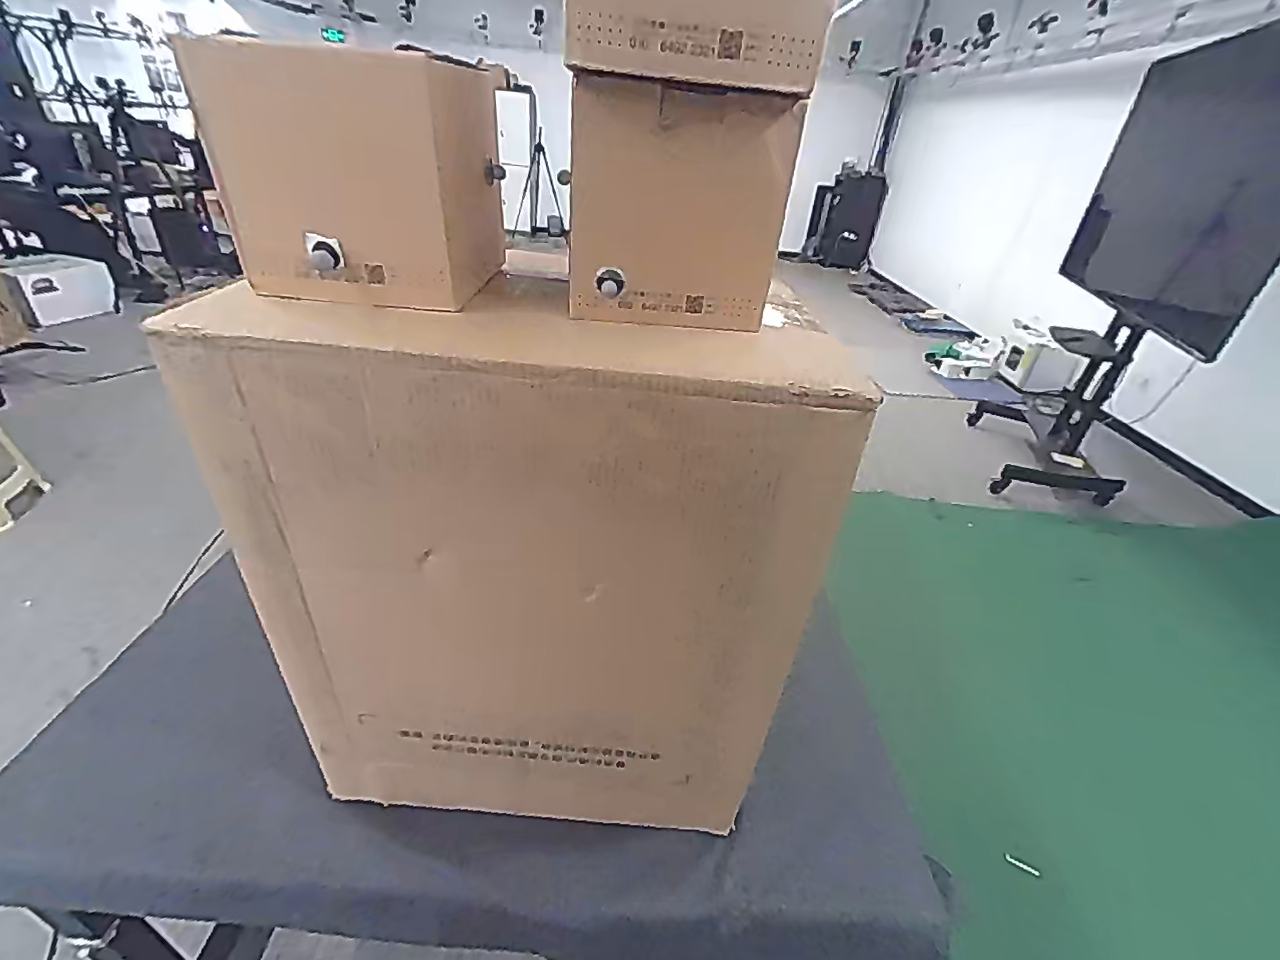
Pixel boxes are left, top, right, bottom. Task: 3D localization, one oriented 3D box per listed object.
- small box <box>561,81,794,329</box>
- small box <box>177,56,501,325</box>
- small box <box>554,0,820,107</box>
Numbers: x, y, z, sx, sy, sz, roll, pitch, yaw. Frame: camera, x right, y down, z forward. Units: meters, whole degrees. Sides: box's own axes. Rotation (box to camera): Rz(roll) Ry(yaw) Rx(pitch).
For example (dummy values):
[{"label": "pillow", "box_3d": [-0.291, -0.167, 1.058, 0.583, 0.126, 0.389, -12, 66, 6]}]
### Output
[{"label": "small box", "box_3d": [0.019, -0.242, 0.481, 0.168, 0.176, 0.179, 2, 33, -5]}, {"label": "small box", "box_3d": [-0.222, -0.246, 0.462, 0.168, 0.176, 0.179, 2, 36, -1]}, {"label": "small box", "box_3d": [0.030, -0.366, 0.374, 0.168, 0.176, 0.179, 2, 34, -4]}]
